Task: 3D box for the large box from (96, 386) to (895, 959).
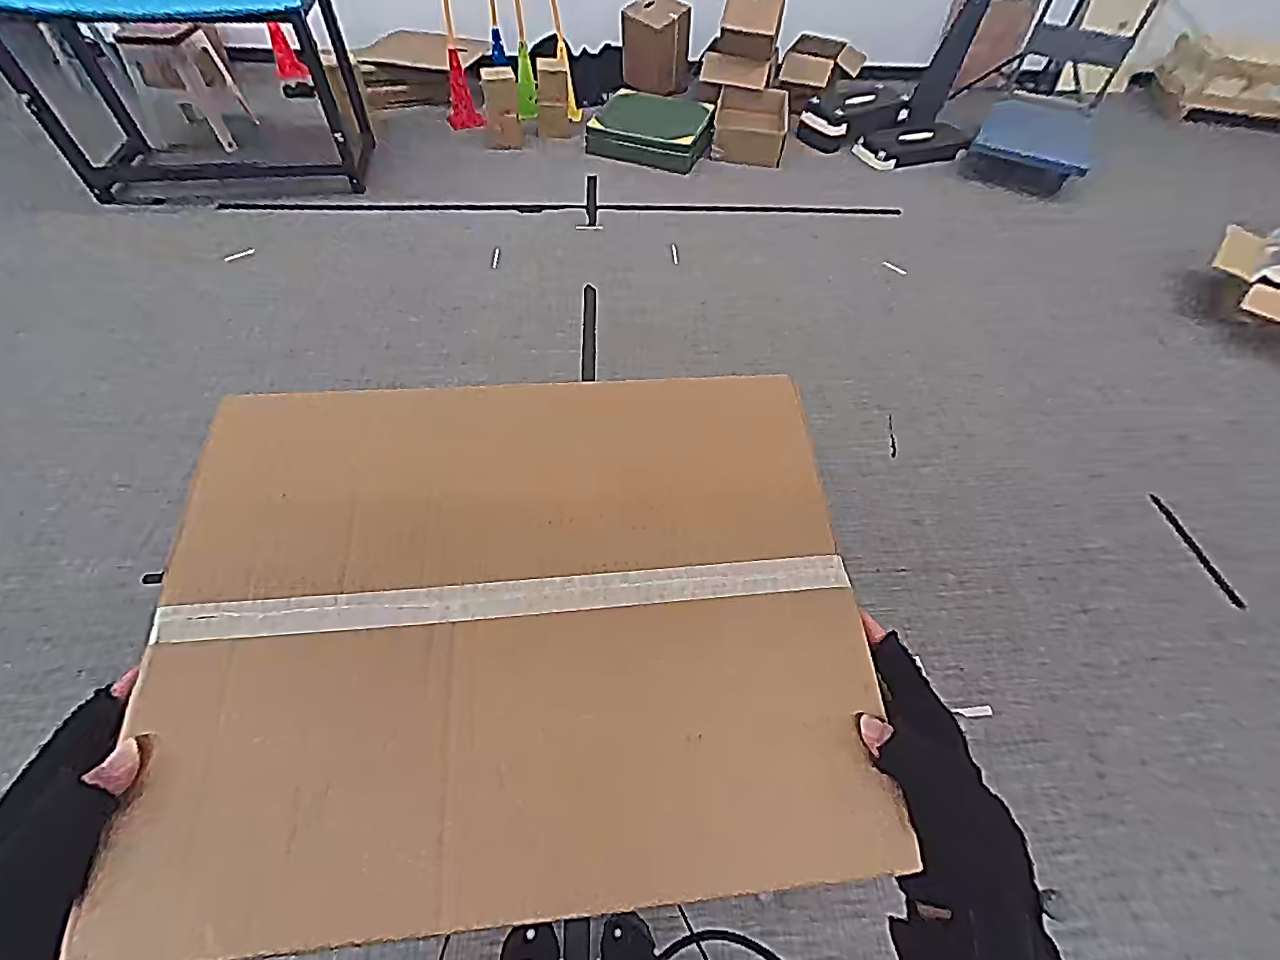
[{"bbox_3d":[-0.080,0.143,0.465,0.408,0.320,0.320,-4,64,-5],"label":"large box"}]
